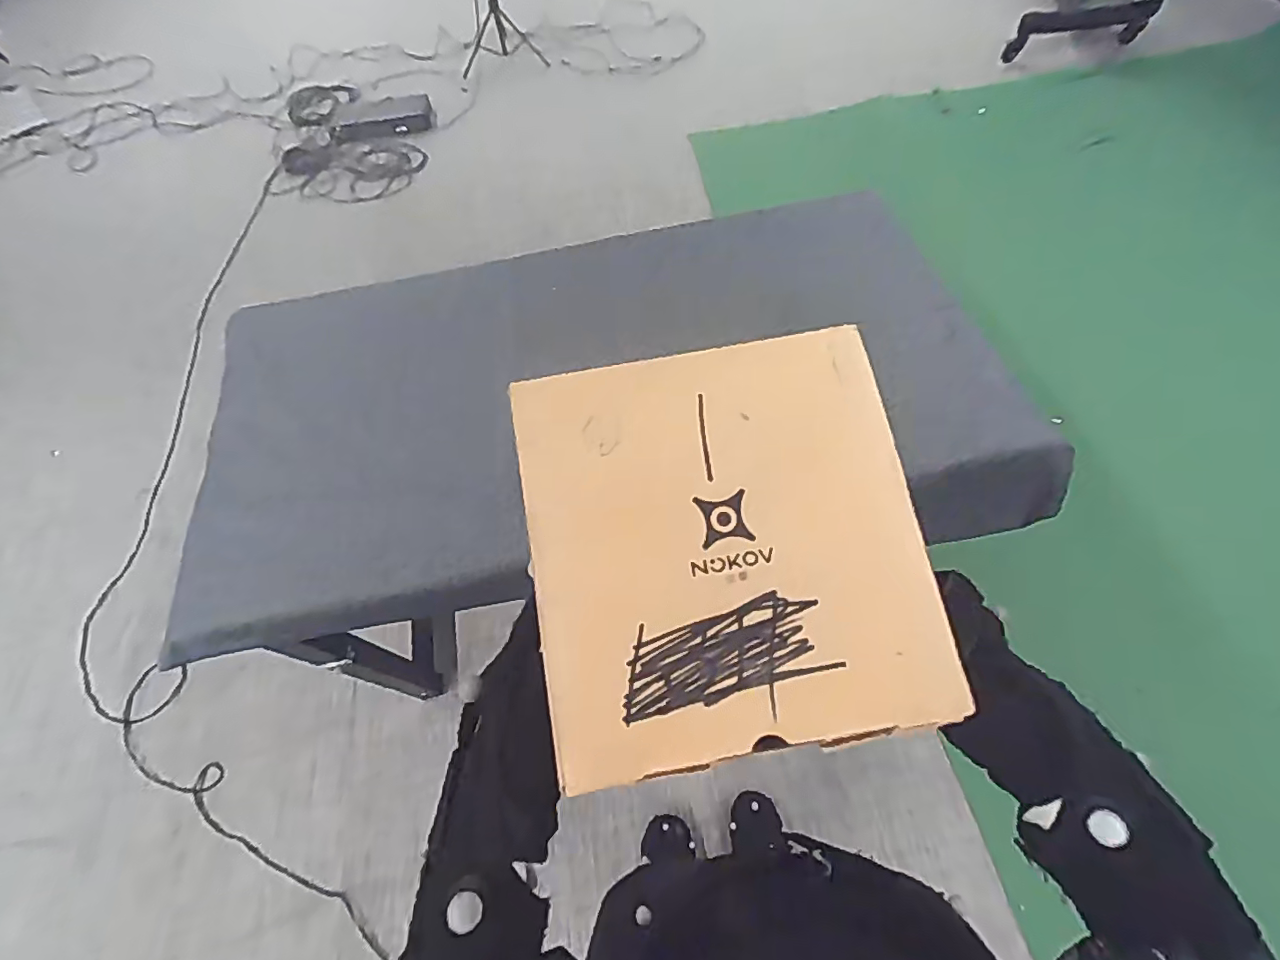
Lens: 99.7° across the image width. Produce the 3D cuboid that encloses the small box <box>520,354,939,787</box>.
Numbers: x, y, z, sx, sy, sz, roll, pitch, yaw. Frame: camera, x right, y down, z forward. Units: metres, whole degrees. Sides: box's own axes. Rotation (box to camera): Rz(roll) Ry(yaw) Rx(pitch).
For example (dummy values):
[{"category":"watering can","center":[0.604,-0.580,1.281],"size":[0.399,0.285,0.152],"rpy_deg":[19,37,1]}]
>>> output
[{"category":"small box","center":[0.034,0.050,0.320],"size":[0.168,0.176,0.179],"rpy_deg":[-8,76,-2]}]
